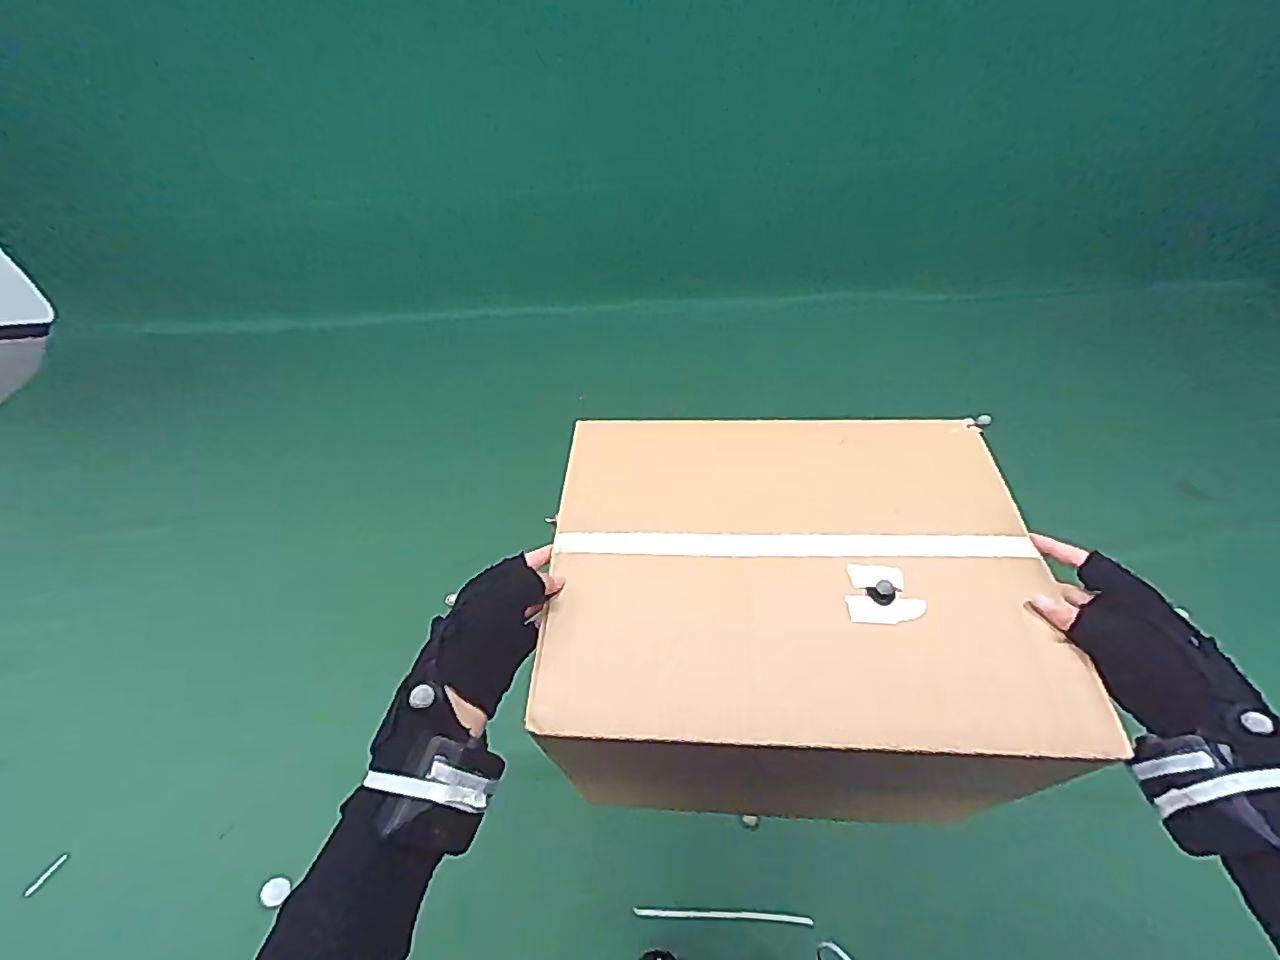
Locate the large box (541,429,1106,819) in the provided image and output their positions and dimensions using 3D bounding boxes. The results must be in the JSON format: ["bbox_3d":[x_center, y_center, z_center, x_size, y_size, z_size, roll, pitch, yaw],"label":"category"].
[{"bbox_3d":[0.137,0.162,0.589,0.408,0.320,0.320,0,51,5],"label":"large box"}]
